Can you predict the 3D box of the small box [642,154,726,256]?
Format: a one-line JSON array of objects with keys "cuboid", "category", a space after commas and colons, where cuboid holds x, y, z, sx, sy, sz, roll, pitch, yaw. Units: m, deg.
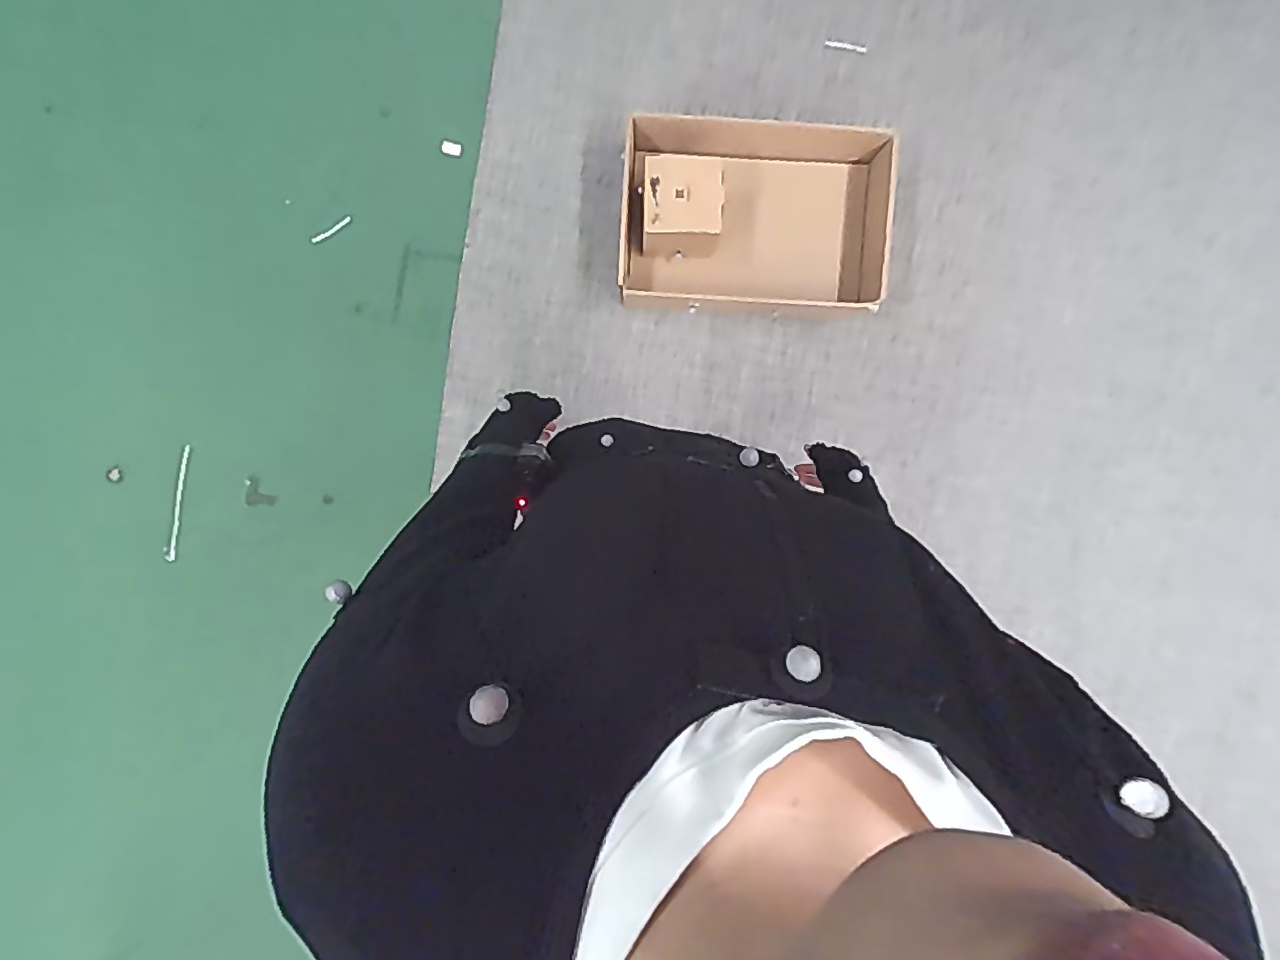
[{"cuboid": [0.099, -0.642, 1.280, 0.179, 0.176, 0.168, 0, 94, -2], "category": "small box"}]
